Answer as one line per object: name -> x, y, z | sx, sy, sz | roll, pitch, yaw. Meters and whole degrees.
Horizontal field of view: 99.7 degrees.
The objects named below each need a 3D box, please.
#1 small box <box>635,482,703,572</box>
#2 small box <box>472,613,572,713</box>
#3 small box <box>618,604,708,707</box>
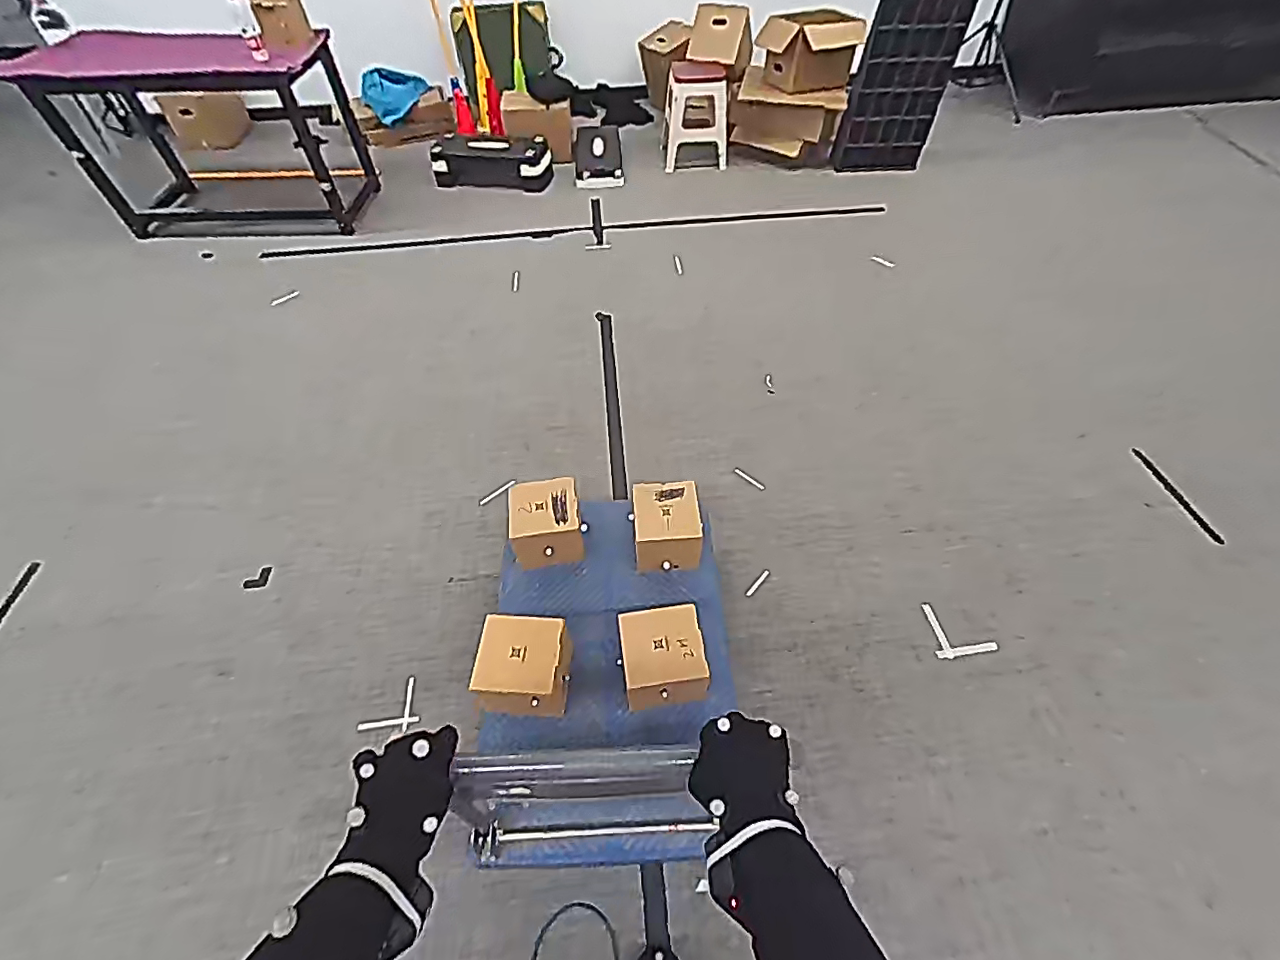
small box -> 0.071, 0.126, 1.438 | 0.168, 0.176, 0.179 | -3, 53, -1
small box -> -0.257, 0.416, 1.222 | 0.179, 0.176, 0.168 | 3, 52, 2
small box -> 0.049, 0.401, 1.226 | 0.179, 0.176, 0.168 | -7, 53, -4
